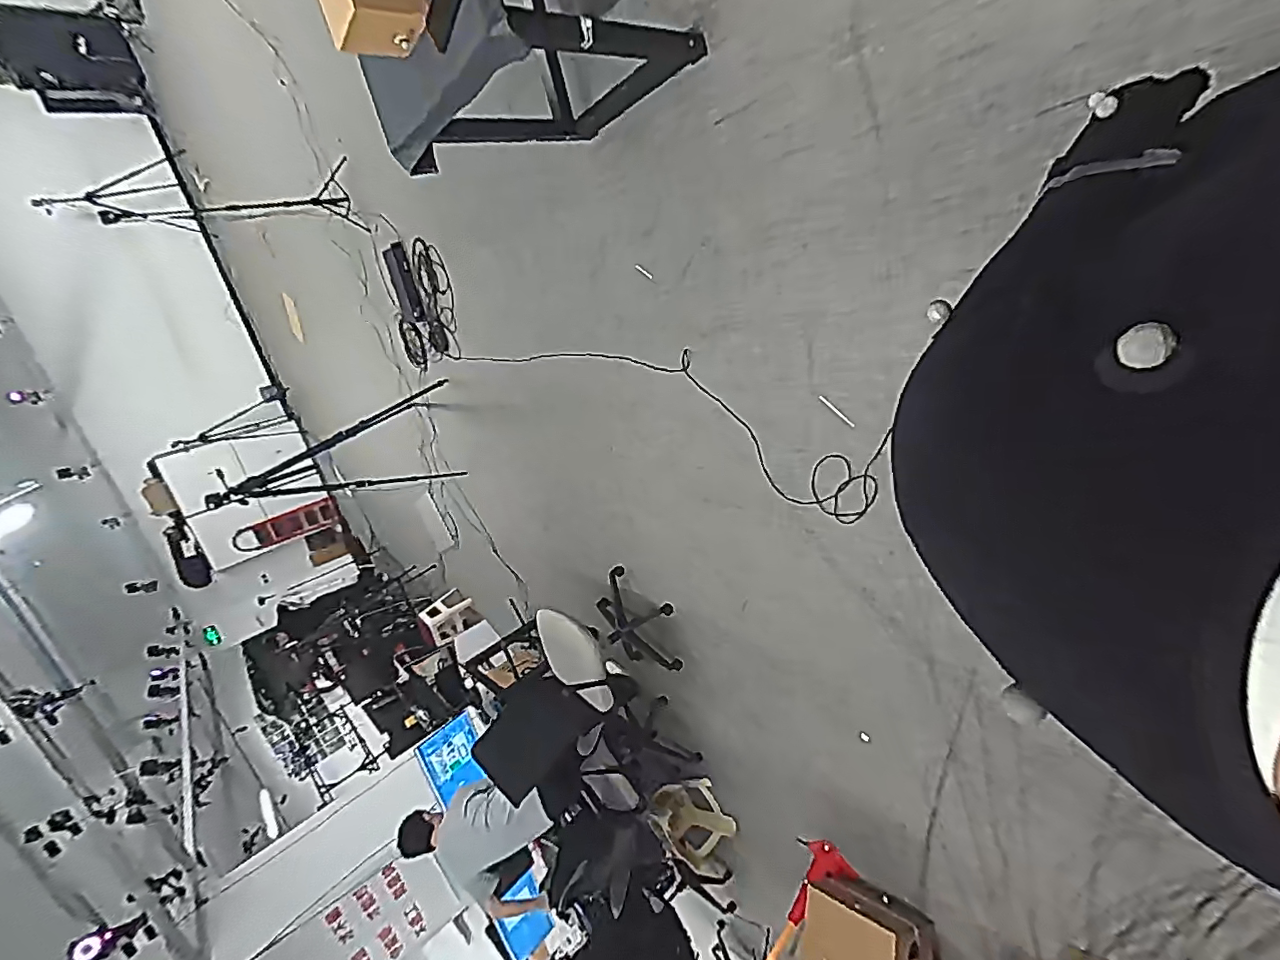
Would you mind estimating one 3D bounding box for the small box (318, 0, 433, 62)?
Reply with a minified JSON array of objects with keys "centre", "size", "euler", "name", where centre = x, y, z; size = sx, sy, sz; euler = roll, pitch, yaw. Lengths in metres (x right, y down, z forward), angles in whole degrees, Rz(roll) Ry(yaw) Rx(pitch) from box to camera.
[{"centre":[-0.580,-1.045,1.170],"size":[0.168,0.176,0.179],"euler":[3,115,51],"name":"small box"}]
